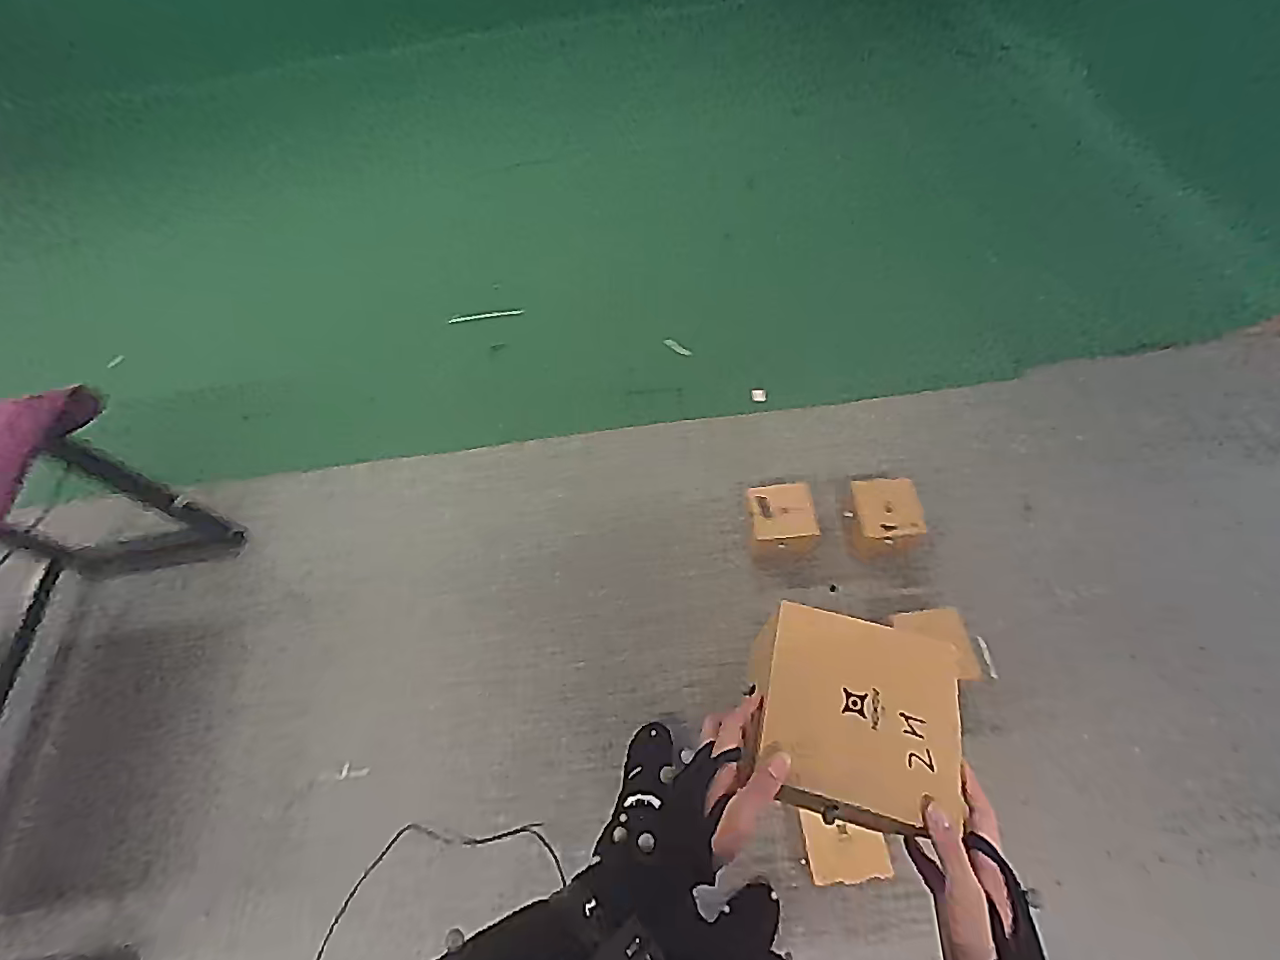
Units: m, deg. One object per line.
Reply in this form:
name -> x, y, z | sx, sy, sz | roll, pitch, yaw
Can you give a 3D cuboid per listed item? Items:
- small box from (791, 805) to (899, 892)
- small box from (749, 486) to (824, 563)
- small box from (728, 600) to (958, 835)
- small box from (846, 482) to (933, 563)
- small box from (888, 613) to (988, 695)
small box -> 0.445, 0.794, 1.210 | 0.168, 0.176, 0.179 | -8, 61, 2
small box -> 0.419, 0.135, 1.582 | 0.179, 0.176, 0.168 | -5, 60, 2
small box -> 0.196, 0.247, 0.559 | 0.179, 0.176, 0.168 | 13, 60, 8
small box -> 0.707, 0.125, 1.558 | 0.168, 0.176, 0.179 | -4, 60, 4
small box -> 0.732, 0.451, 1.371 | 0.168, 0.176, 0.179 | -6, 60, 2
